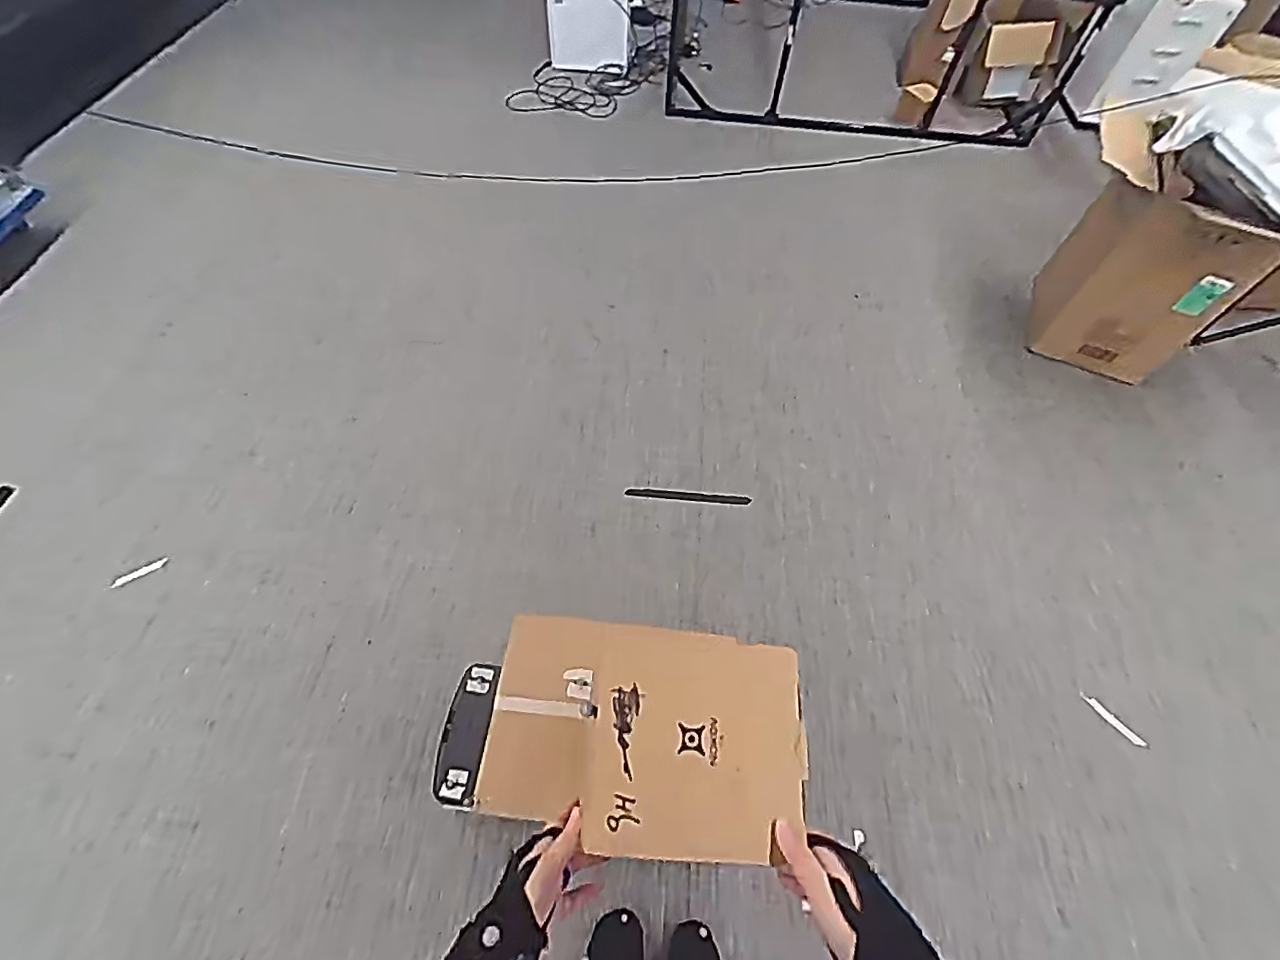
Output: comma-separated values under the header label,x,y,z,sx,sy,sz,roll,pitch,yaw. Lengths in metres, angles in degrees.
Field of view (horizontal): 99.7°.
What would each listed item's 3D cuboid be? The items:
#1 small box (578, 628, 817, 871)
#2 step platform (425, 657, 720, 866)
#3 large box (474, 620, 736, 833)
label,x,y,z,sx,sy,sz,roll,pitch,yaw
small box,0.042,0.244,0.503,0.179,0.176,0.168,7,62,-6
step platform,-0.104,0.610,1.196,0.684,0.204,0.286,10,57,5
large box,-0.040,0.473,1.004,0.408,0.320,0.320,5,57,2
